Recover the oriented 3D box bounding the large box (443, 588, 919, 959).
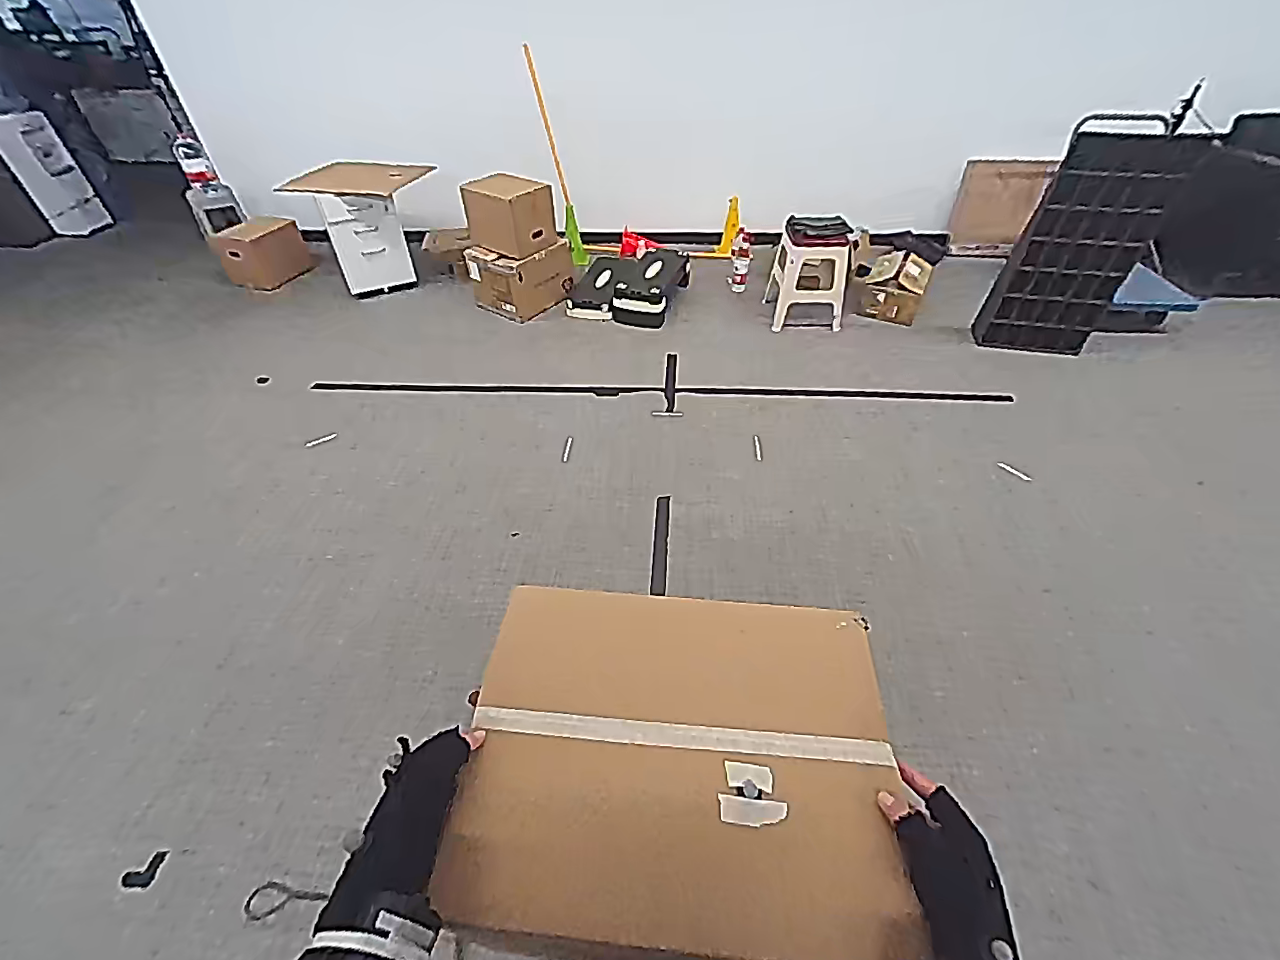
[{"bbox_3d":[0.039,0.356,0.652,0.408,0.320,0.320,4,46,4],"label":"large box"}]
